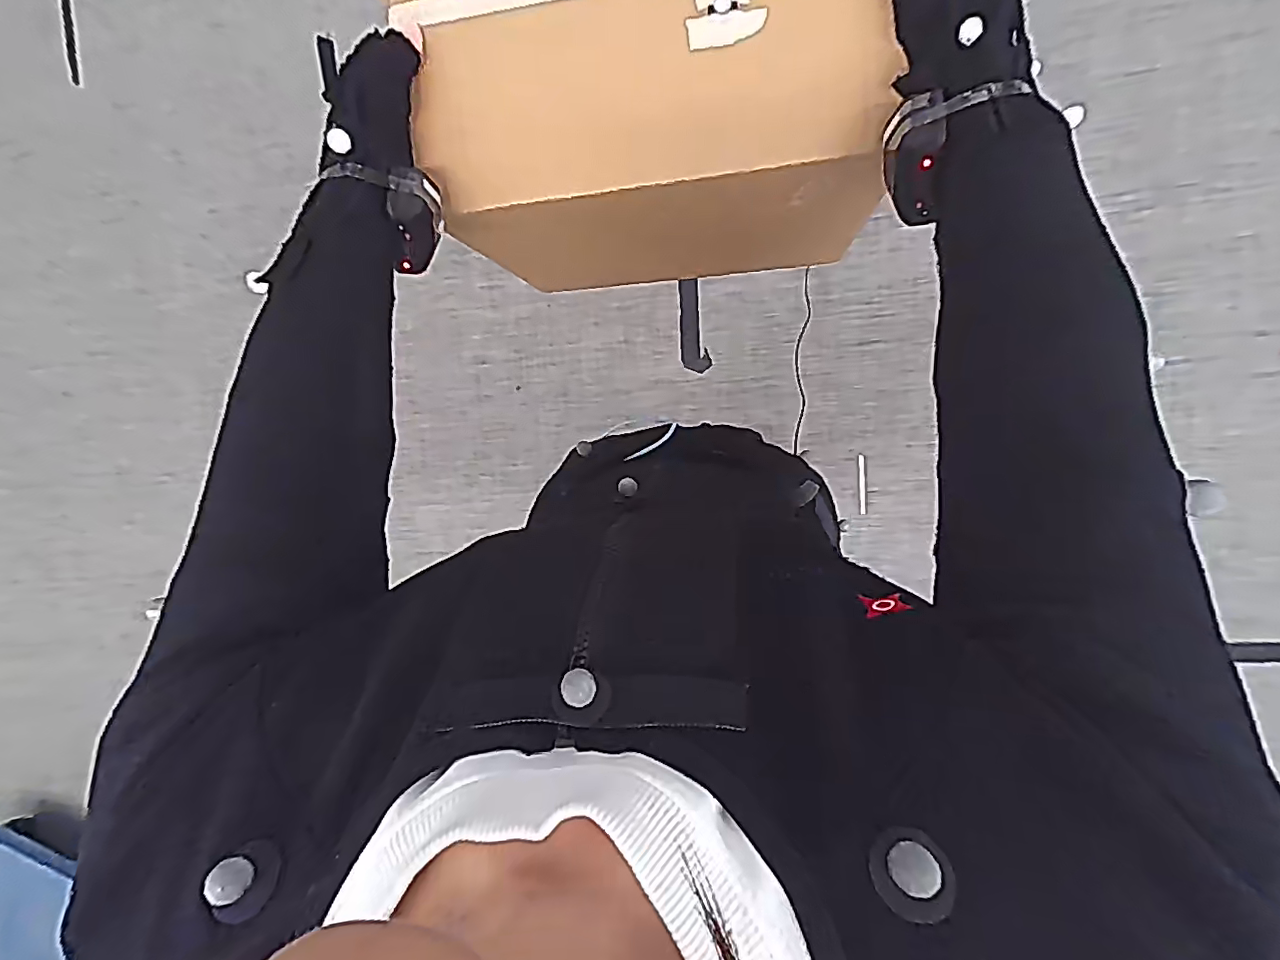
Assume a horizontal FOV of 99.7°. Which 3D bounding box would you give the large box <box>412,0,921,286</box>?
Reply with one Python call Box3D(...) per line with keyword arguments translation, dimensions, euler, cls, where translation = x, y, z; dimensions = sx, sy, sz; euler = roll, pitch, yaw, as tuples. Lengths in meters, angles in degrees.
Box3D(translation=(0.025, -0.417, 0.568), dimensions=(0.408, 0.320, 0.320), euler=(-3, 97, 9), cls="large box")
